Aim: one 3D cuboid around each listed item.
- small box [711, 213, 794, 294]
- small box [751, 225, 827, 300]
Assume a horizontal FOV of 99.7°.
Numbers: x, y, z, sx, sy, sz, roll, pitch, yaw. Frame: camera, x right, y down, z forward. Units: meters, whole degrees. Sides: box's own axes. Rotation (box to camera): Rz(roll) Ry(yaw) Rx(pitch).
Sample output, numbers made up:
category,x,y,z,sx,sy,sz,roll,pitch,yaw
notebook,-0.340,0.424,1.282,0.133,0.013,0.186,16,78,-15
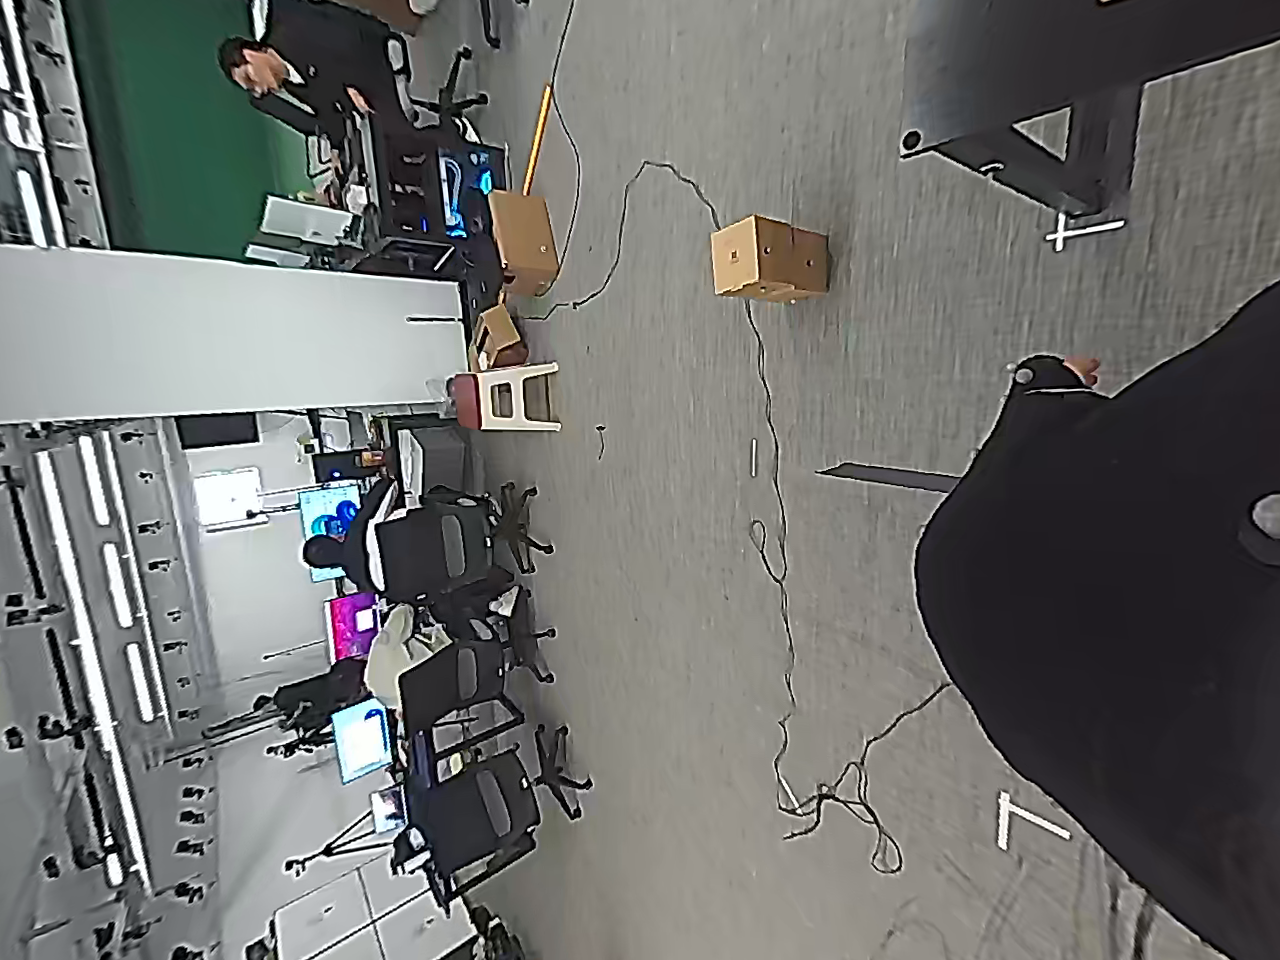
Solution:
category,x,y,z,sx,sy,sz,roll,pitch,yaw
small box,0.328,-0.644,1.565,0.168,0.176,0.179,2,98,52
small box,0.458,-0.661,1.663,0.168,0.176,0.179,7,104,52
